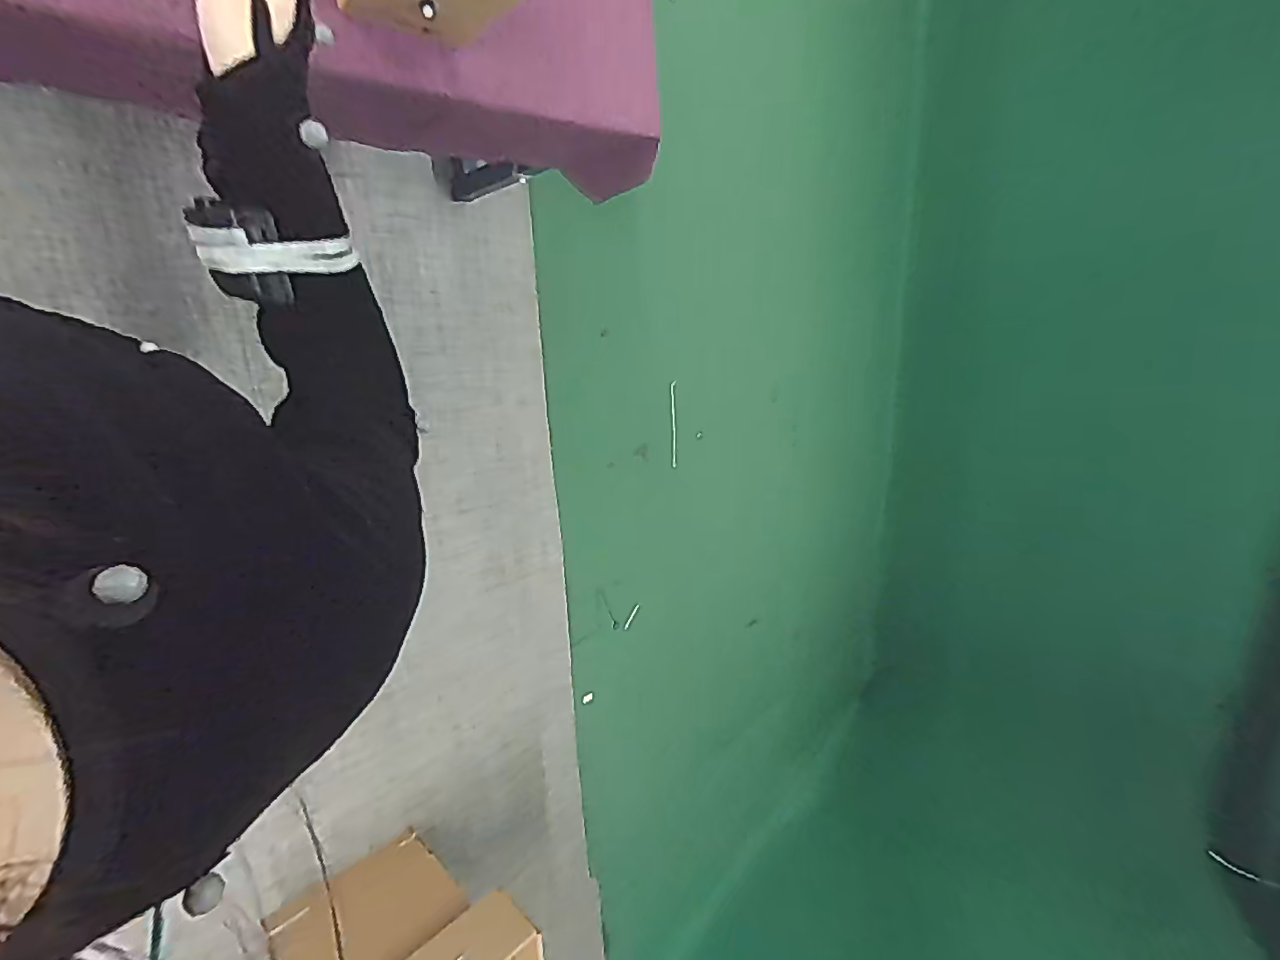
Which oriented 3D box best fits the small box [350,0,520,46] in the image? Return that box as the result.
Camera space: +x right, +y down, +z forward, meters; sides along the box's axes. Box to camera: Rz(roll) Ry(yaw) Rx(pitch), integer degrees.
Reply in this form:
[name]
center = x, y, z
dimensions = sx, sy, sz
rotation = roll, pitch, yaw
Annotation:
[small box]
center = -0.258, -0.660, 0.637
dimensions = 0.168, 0.176, 0.179
rotation = -20, 112, -42
